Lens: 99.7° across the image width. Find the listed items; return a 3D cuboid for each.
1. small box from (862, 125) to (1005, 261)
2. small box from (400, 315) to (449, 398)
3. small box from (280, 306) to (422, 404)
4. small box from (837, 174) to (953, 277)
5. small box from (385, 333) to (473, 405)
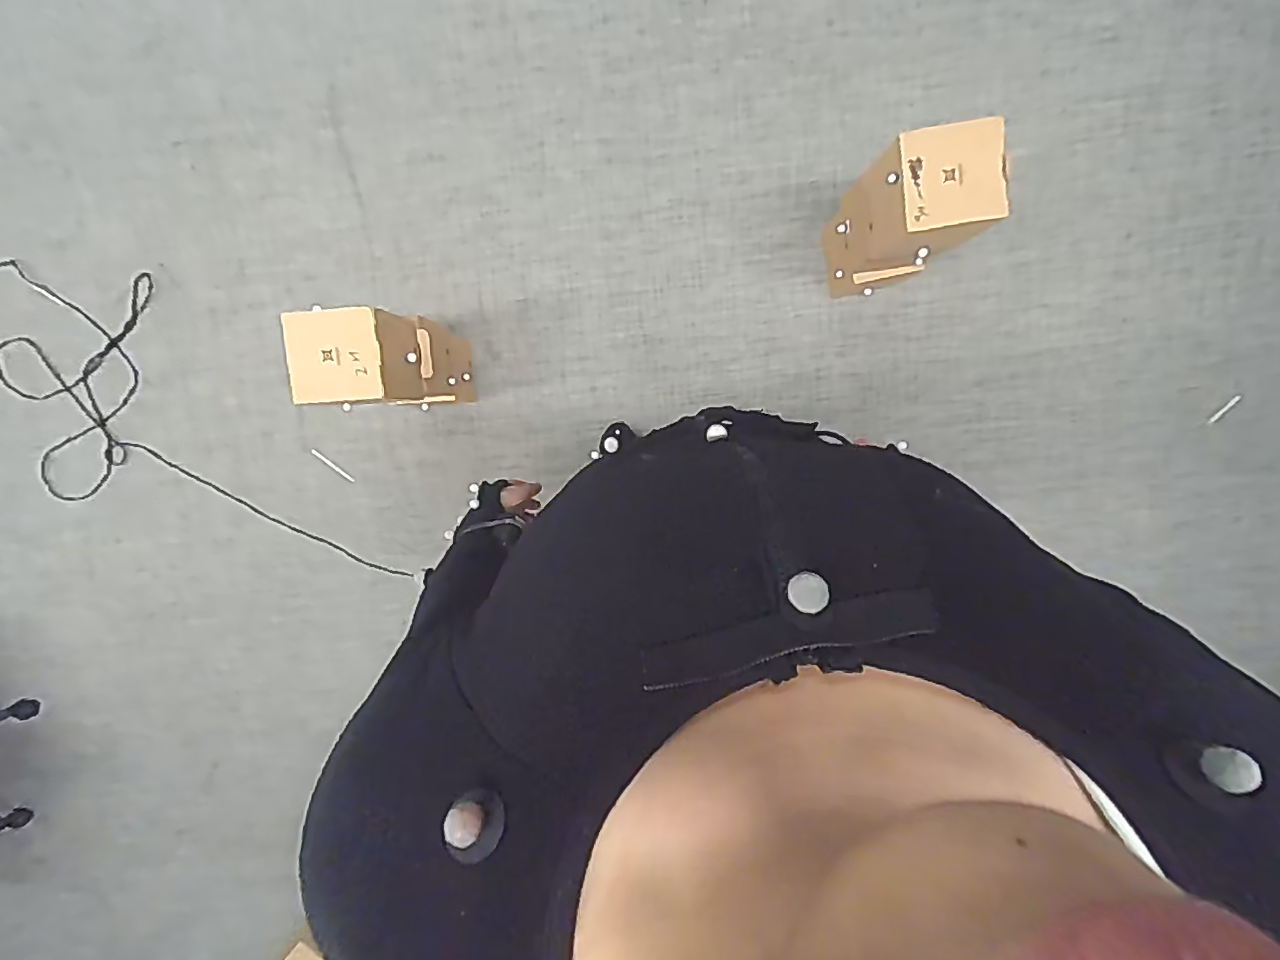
[{"bbox_3d":[0.535,-0.520,1.003,0.179,0.176,0.168,-7,96,1],"label":"small box"},{"bbox_3d":[-0.543,-0.270,1.214,0.179,0.176,0.168,-3,97,3],"label":"small box"},{"bbox_3d":[-0.553,-0.236,1.053,0.179,0.176,0.168,-3,98,2],"label":"small box"},{"bbox_3d":[0.544,-0.549,1.164,0.179,0.176,0.168,-7,96,3],"label":"small box"},{"bbox_3d":[-0.537,-0.280,1.379,0.179,0.176,0.168,-4,97,2],"label":"small box"}]
